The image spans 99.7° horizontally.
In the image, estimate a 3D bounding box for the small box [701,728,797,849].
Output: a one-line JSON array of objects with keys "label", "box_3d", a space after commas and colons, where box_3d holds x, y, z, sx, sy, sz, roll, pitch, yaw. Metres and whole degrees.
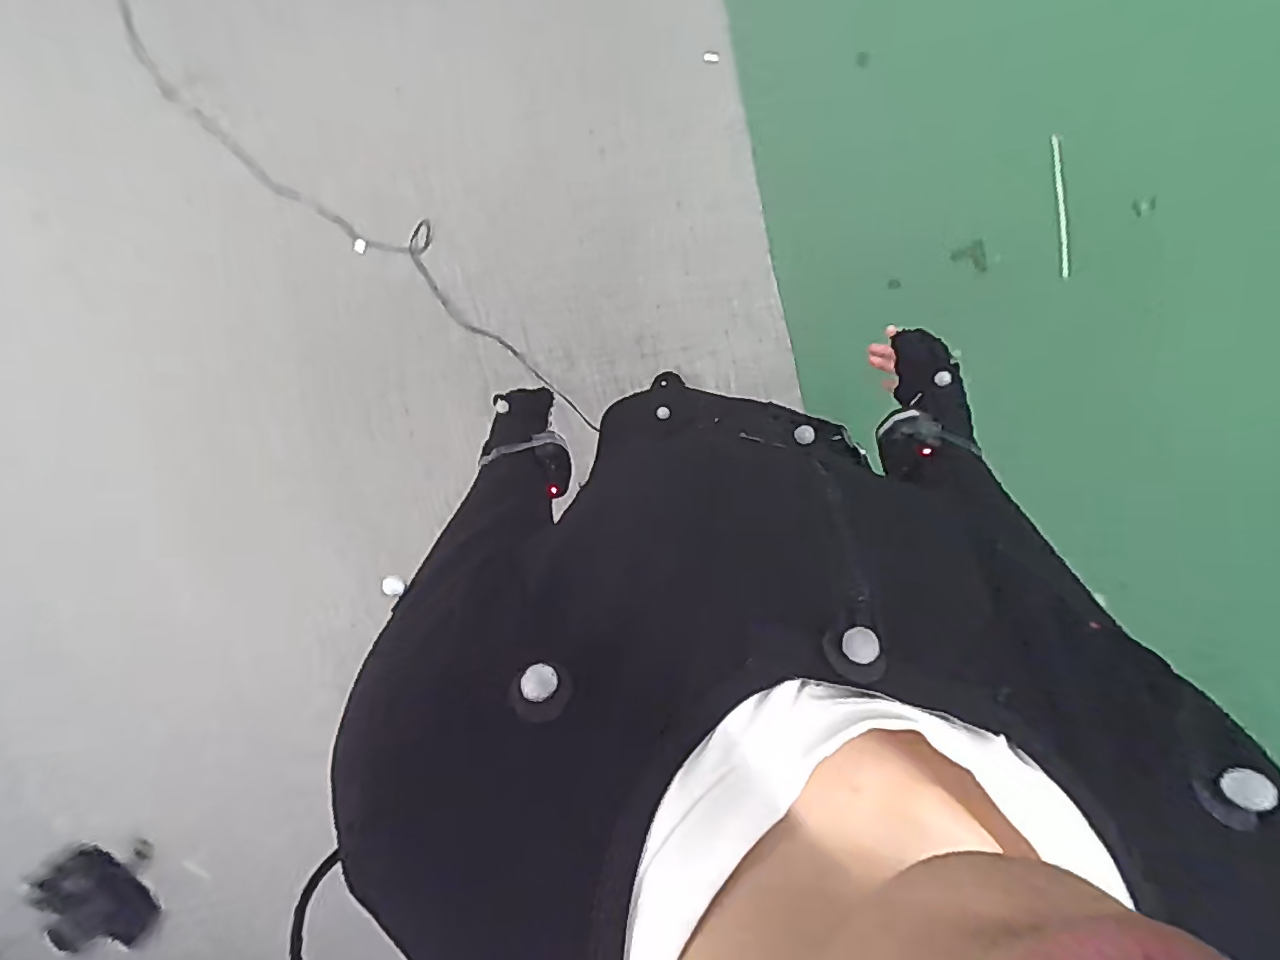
[{"label": "small box", "box_3d": [0.254, 0.729, 1.301, 0.168, 0.176, 0.179, -25, 100, 10]}]

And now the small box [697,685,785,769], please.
[{"label": "small box", "box_3d": [0.263, 0.683, 1.456, 0.168, 0.176, 0.179, -29, 99, 9]}]
